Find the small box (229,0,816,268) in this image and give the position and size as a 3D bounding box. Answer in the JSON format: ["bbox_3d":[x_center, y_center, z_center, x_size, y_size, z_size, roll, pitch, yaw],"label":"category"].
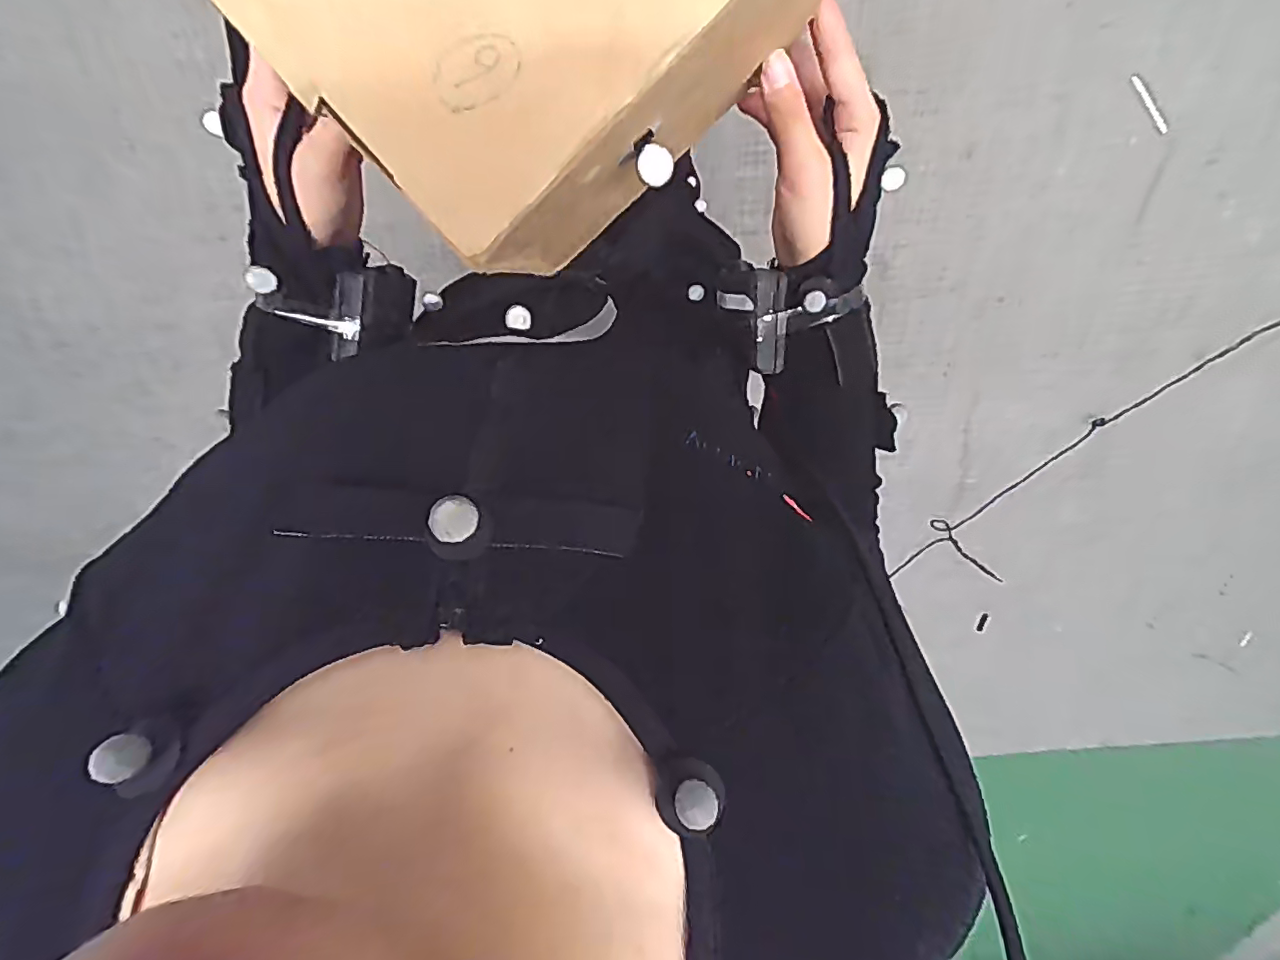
[{"bbox_3d":[-0.037,-0.202,0.208,0.179,0.176,0.168,-38,104,14],"label":"small box"}]
